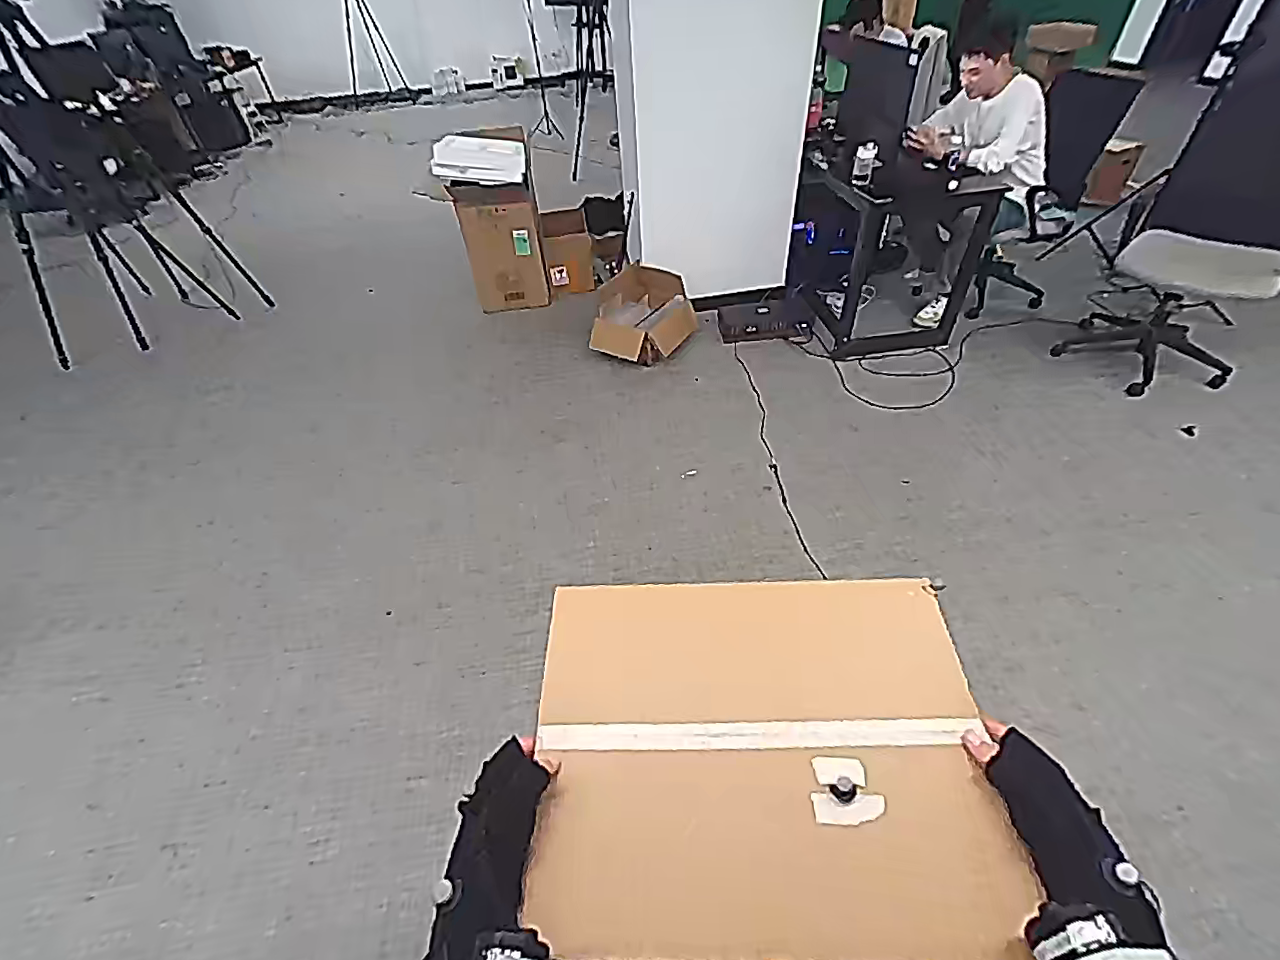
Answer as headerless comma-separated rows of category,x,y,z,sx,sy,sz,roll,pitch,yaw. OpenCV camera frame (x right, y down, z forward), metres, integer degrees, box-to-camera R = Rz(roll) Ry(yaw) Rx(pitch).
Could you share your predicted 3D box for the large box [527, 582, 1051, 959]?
large box,0.116,0.333,0.615,0.408,0.320,0.320,-2,50,3
